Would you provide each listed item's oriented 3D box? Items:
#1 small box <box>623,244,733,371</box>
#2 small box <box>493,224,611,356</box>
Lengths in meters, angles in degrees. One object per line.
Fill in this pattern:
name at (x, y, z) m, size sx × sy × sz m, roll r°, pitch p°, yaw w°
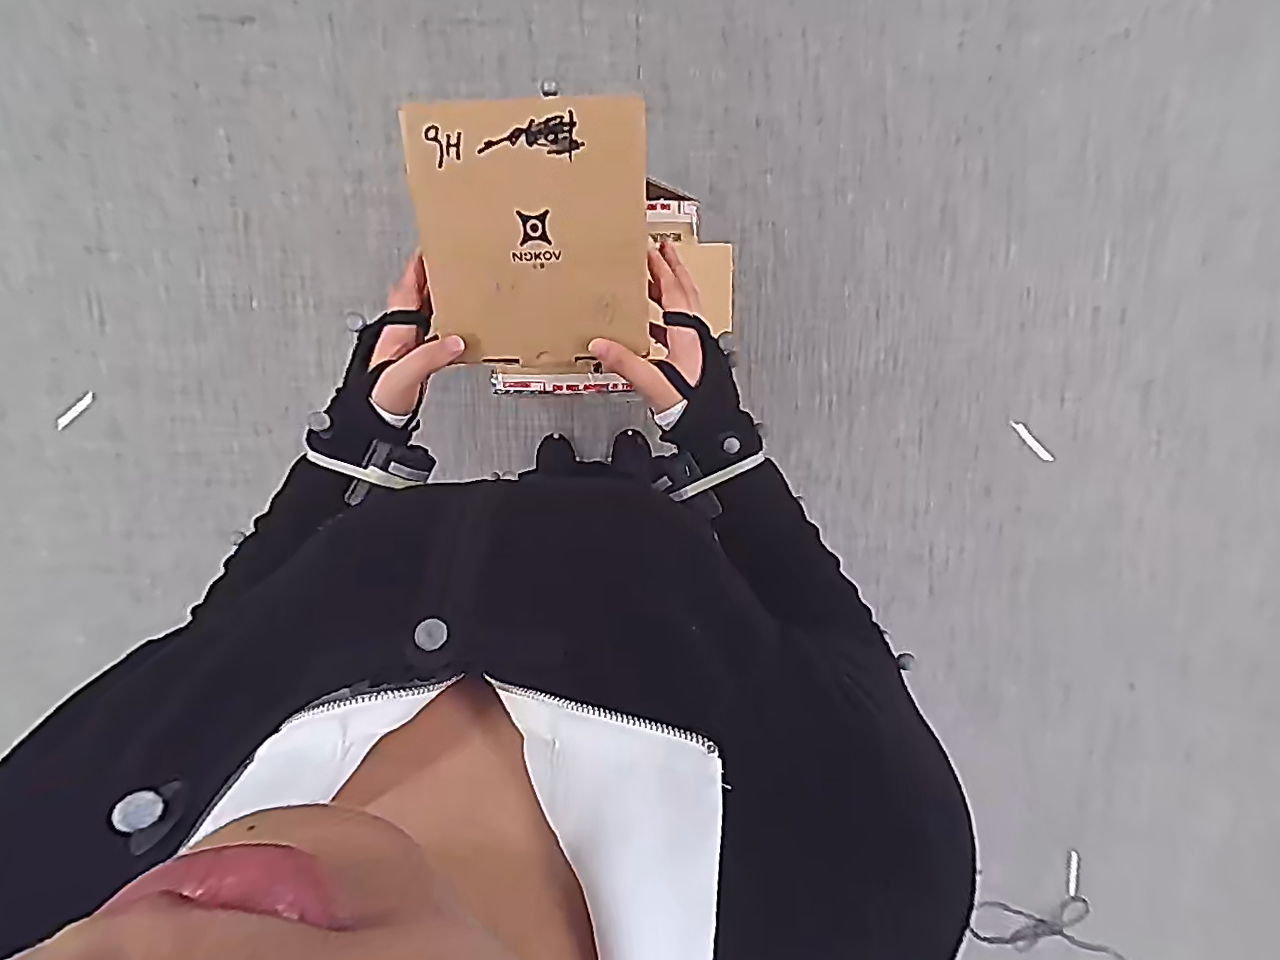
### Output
small box at (0.056, -0.278, 0.903) m, size 0.168 × 0.176 × 0.179 m, roll -1°, pitch 97°, yaw -3°
small box at (-0.136, -0.304, 0.894) m, size 0.168 × 0.176 × 0.179 m, roll -3°, pitch 99°, yaw 0°
